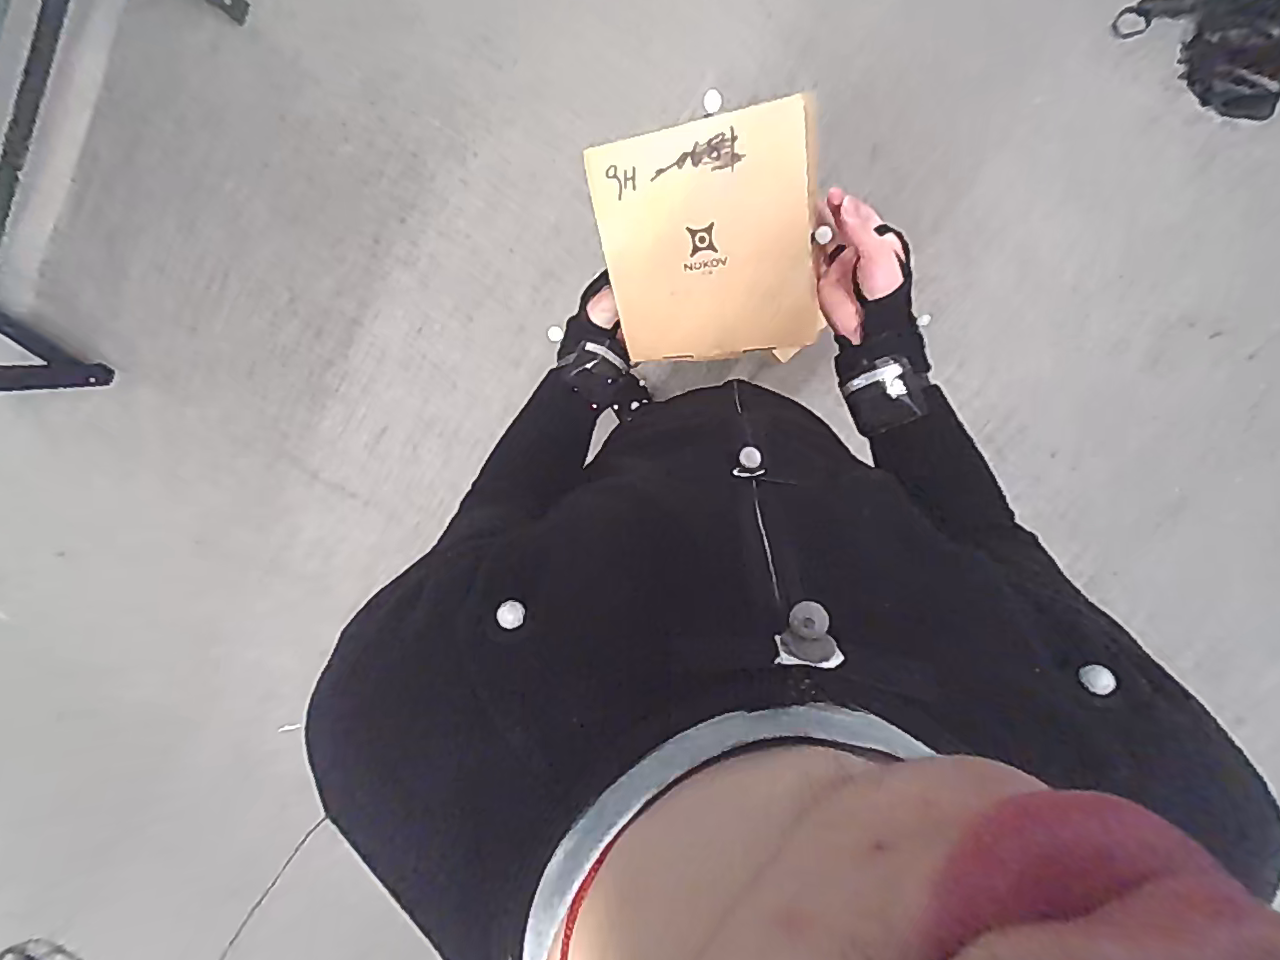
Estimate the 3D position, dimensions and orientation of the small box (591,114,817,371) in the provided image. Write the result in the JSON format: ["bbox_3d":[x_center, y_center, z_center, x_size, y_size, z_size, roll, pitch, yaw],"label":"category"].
[{"bbox_3d":[0.076,-0.220,0.506,0.168,0.176,0.179,-1,124,20],"label":"small box"}]

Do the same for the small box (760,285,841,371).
[{"bbox_3d":[0.321,-0.369,1.236,0.179,0.176,0.168,-42,94,12],"label":"small box"}]
